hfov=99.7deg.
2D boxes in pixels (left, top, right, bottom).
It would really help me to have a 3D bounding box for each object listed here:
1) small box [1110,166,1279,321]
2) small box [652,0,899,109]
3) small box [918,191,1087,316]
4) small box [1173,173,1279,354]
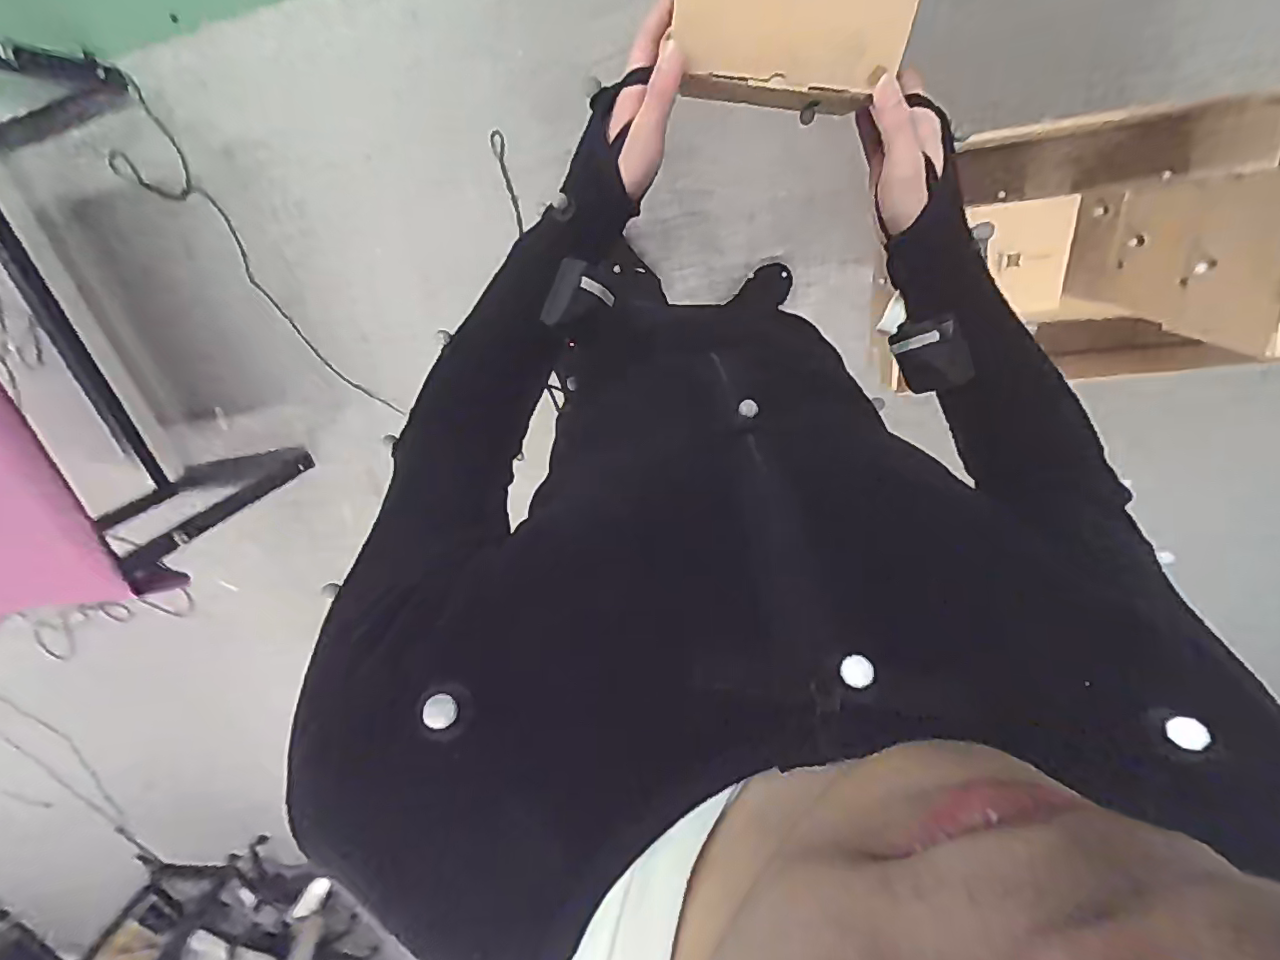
[{"bbox_3d":[0.788,-0.316,0.717,0.179,0.176,0.168,-2,116,14],"label":"small box"},{"bbox_3d":[0.108,-0.401,0.416,0.168,0.176,0.179,8,121,3],"label":"small box"},{"bbox_3d":[0.583,-0.376,0.901,0.179,0.176,0.168,-3,116,10],"label":"small box"},{"bbox_3d":[0.743,-0.243,0.575,0.179,0.176,0.168,-3,115,15],"label":"small box"}]
